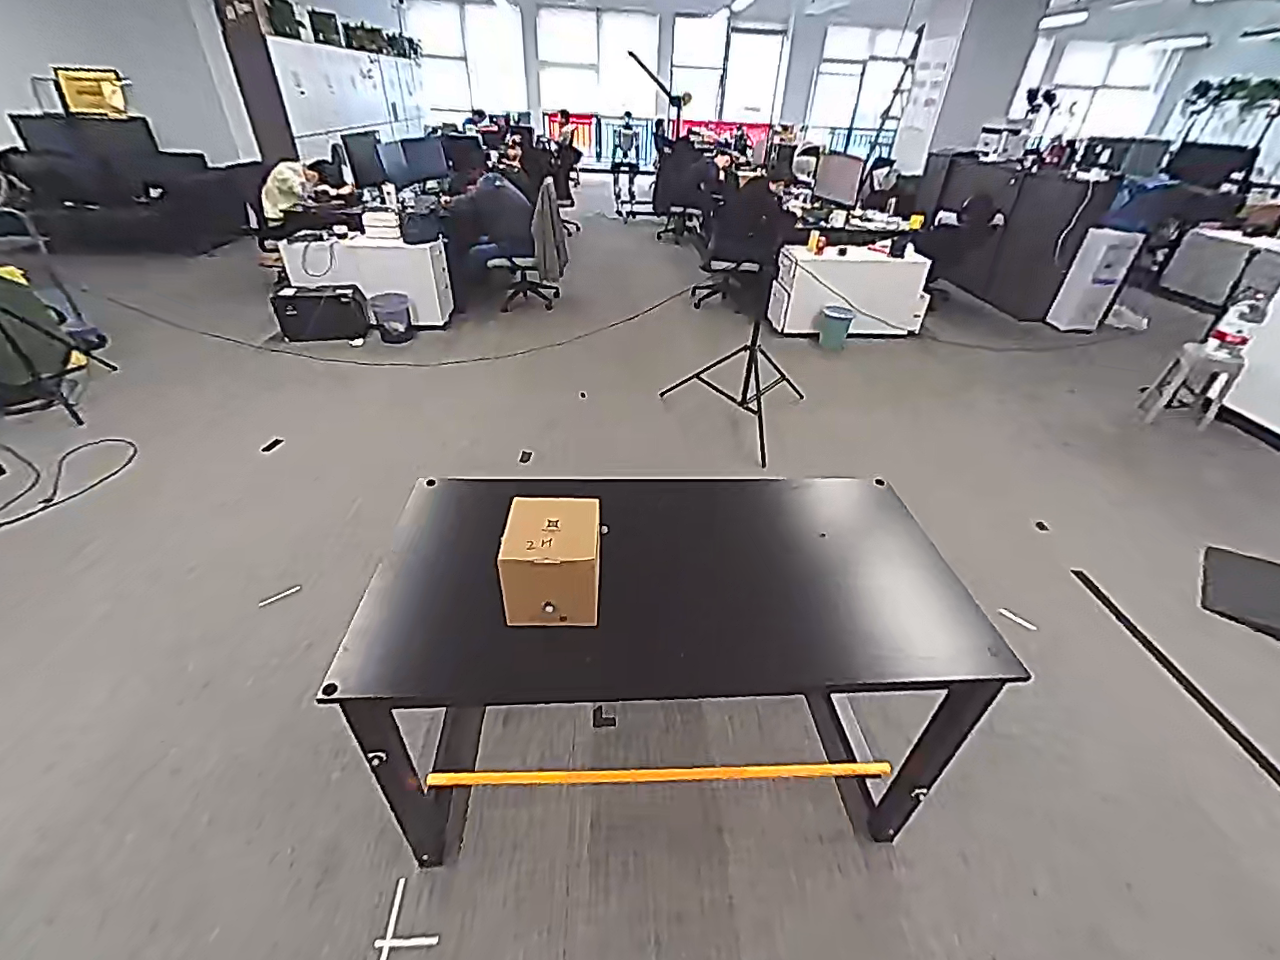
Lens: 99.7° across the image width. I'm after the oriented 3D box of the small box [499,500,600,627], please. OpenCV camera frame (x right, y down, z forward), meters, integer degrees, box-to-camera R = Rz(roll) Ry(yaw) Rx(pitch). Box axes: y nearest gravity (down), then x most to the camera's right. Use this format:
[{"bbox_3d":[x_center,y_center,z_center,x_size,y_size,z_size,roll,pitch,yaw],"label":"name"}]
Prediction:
[{"bbox_3d":[-0.162,0.155,1.025,0.168,0.176,0.179,0,35,-2],"label":"small box"}]
